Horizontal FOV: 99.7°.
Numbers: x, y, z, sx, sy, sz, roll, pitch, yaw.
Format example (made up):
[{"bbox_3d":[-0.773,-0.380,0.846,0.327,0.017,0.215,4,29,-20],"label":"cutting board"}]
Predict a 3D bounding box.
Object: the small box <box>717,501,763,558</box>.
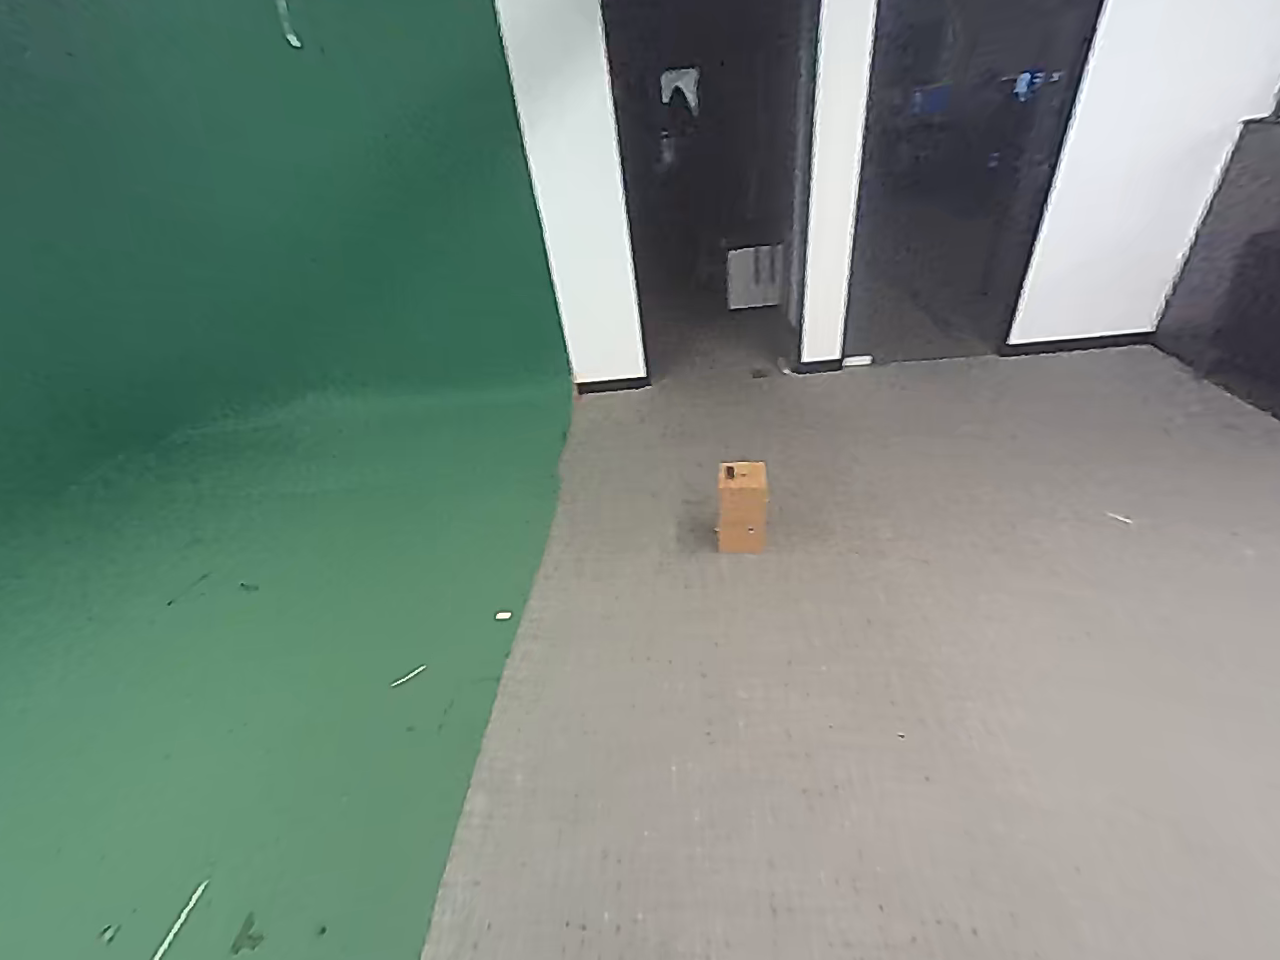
[{"bbox_3d":[0.403,0.201,2.179,0.179,0.176,0.168,-1,36,11],"label":"small box"}]
